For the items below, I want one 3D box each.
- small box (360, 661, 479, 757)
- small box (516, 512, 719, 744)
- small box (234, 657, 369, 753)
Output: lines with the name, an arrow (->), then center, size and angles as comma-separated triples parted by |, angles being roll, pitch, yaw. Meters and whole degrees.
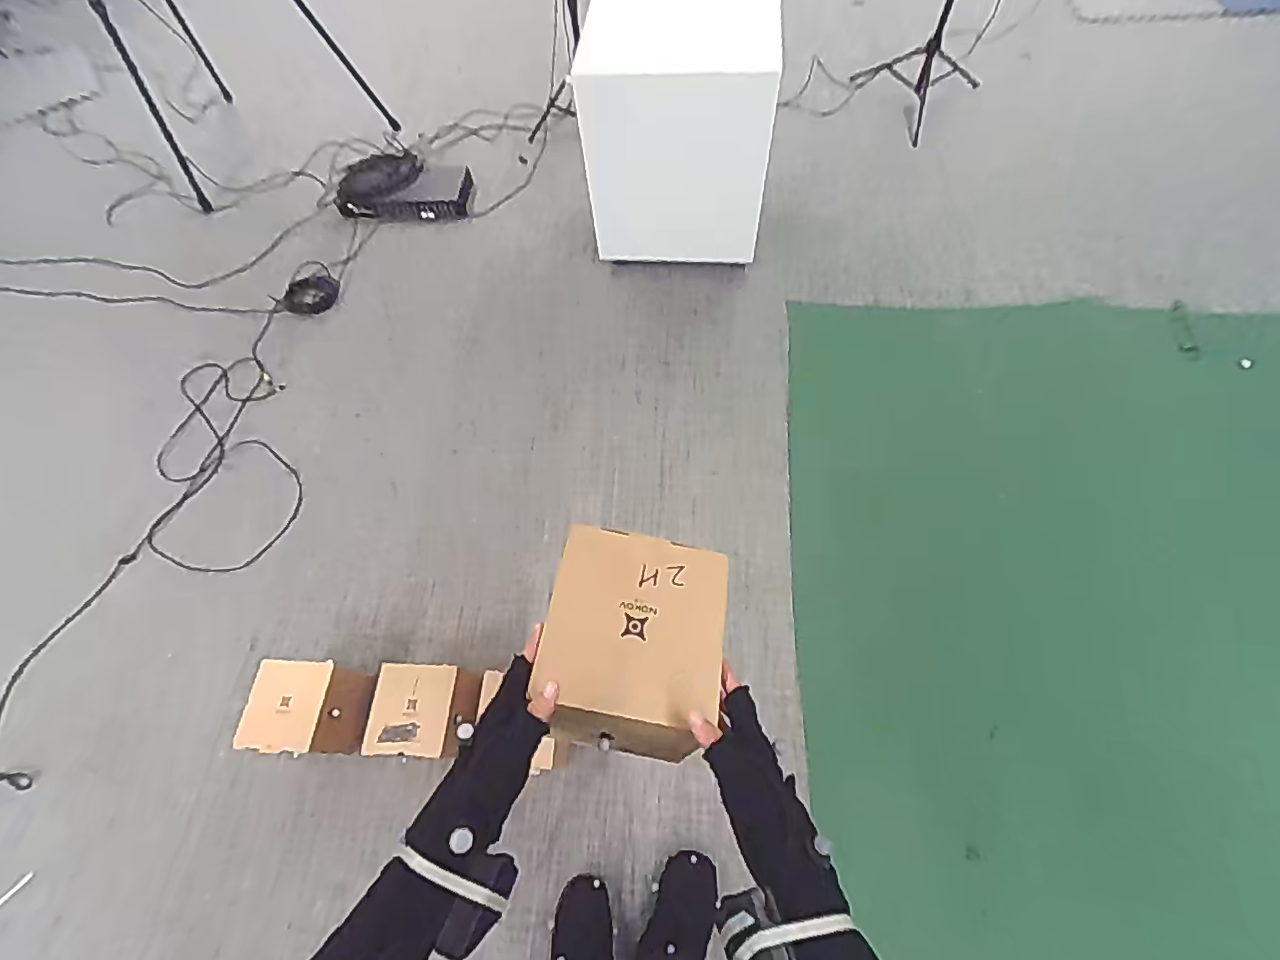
small box -> -0.466, 0.500, 1.174 | 0.168, 0.176, 0.179 | 1, 62, 5
small box -> -0.022, 0.162, 0.570 | 0.168, 0.176, 0.179 | 12, 54, -1
small box -> -0.732, 0.499, 1.195 | 0.168, 0.176, 0.179 | 1, 63, 5
